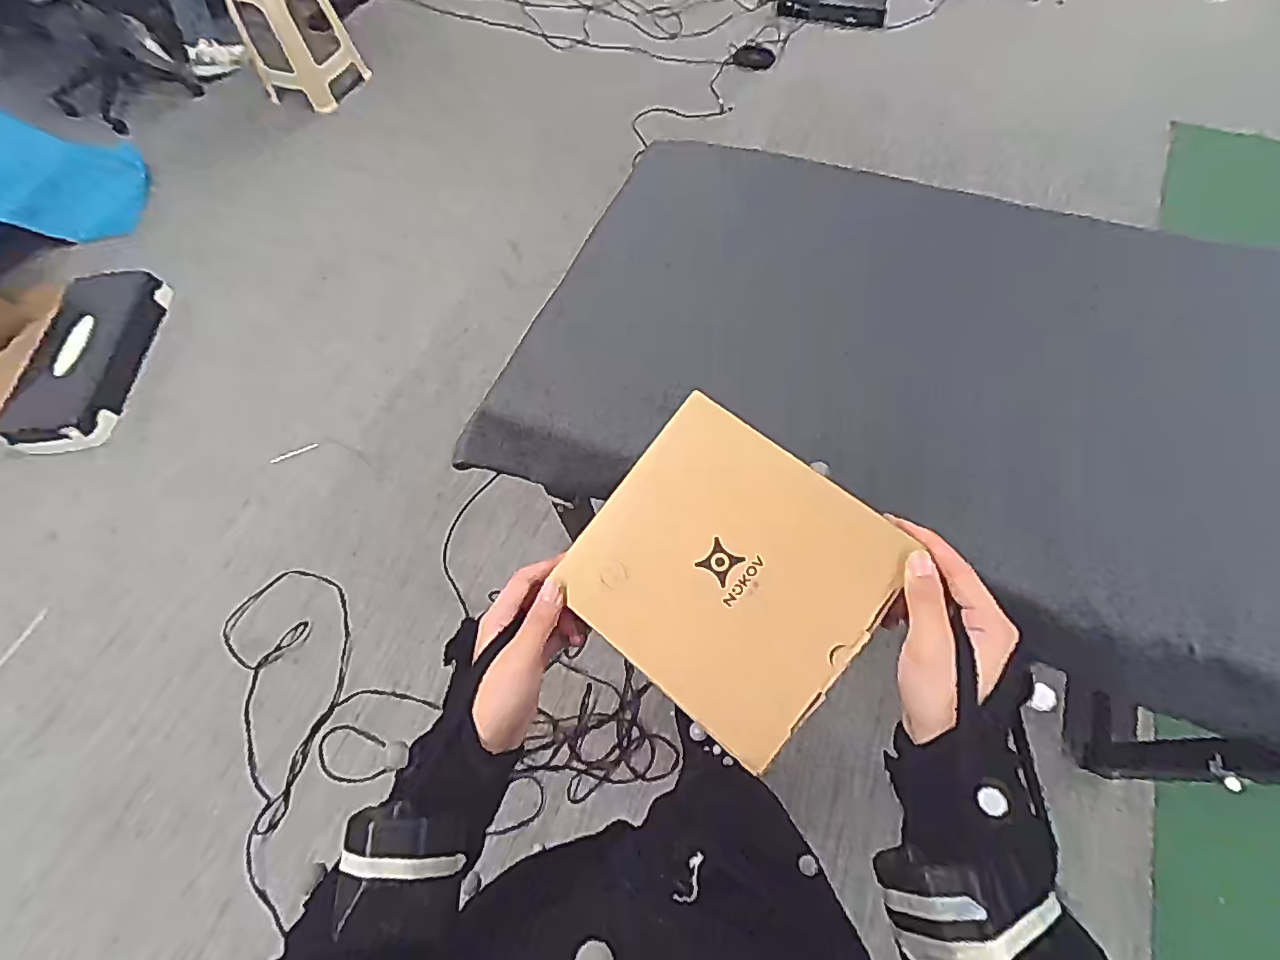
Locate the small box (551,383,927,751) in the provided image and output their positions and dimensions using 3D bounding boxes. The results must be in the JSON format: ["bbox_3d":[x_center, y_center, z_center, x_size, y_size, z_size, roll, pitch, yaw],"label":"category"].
[{"bbox_3d":[0.068,0.062,0.413,0.179,0.176,0.168,37,87,15],"label":"small box"}]
